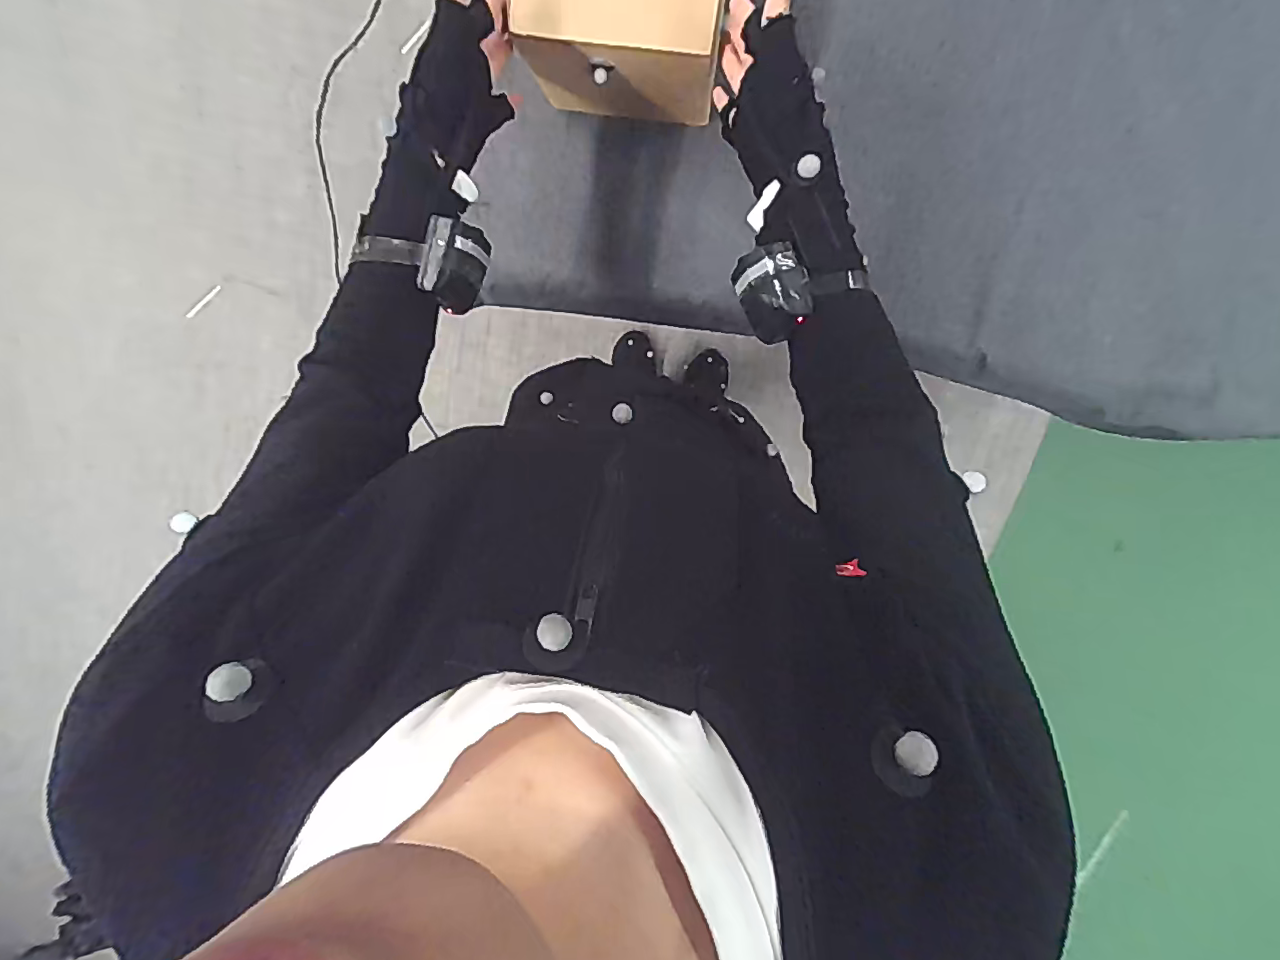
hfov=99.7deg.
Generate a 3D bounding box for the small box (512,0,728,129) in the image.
[{"bbox_3d":[-0.007,-0.458,0.513,0.179,0.176,0.168,8,107,3],"label":"small box"}]
